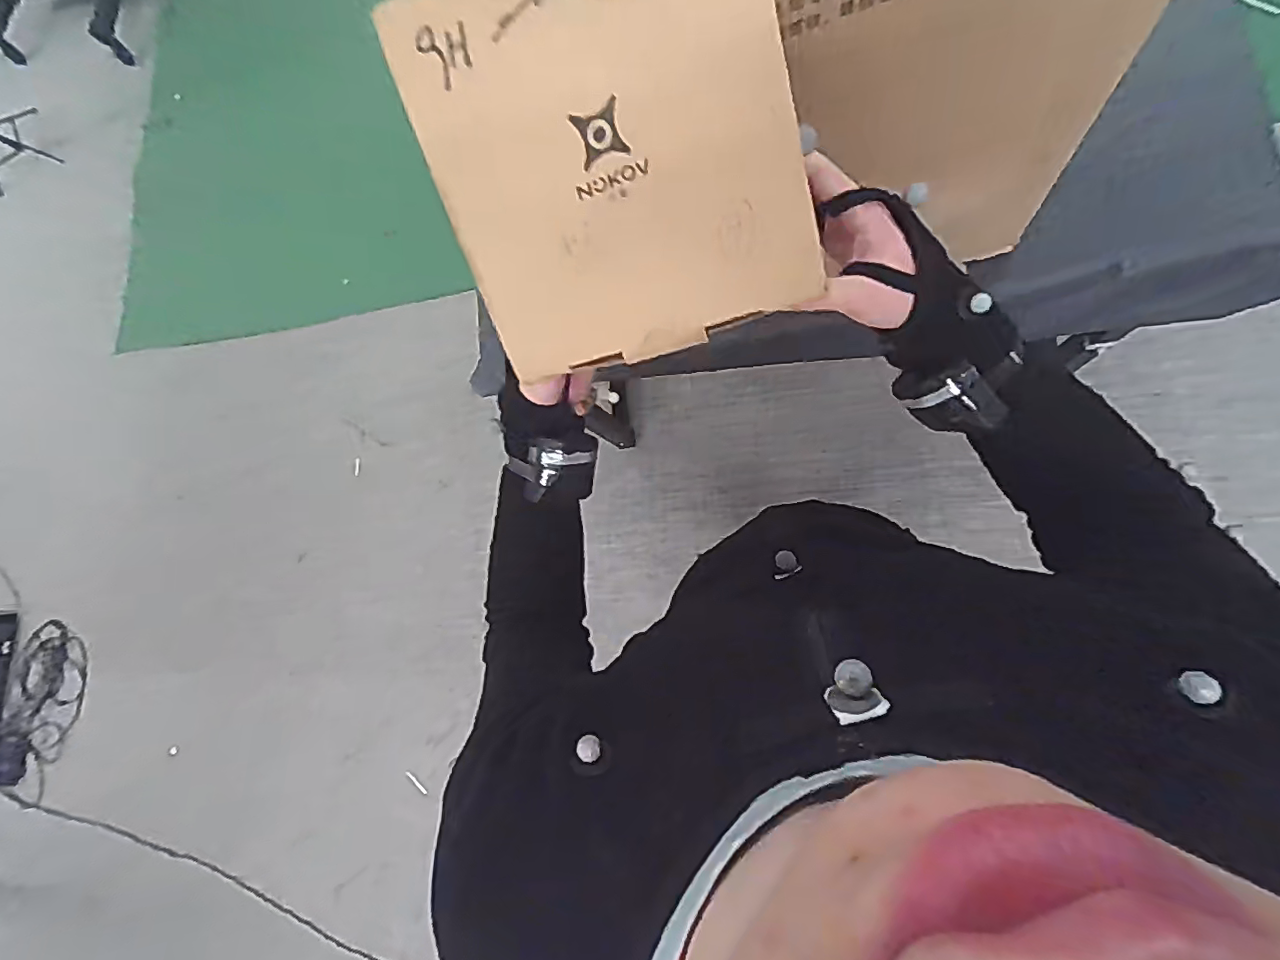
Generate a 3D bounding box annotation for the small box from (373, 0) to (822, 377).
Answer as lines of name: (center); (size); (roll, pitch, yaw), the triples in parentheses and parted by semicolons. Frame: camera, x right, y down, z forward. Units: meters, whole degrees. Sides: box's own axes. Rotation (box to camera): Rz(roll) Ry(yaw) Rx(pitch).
small box: (-0.001, -0.182, 0.313); (0.168, 0.176, 0.179); (-13, 112, 16)
